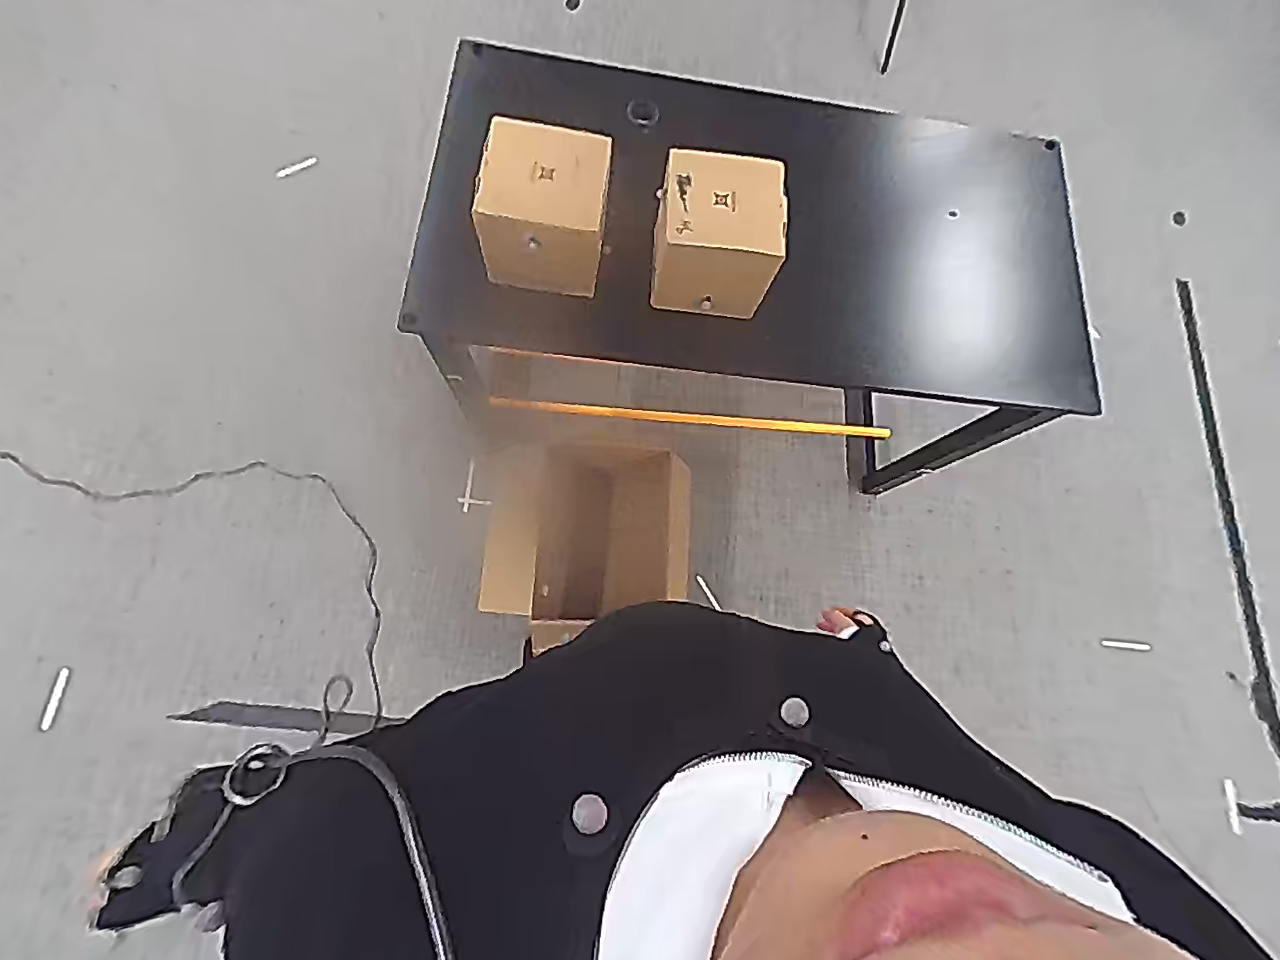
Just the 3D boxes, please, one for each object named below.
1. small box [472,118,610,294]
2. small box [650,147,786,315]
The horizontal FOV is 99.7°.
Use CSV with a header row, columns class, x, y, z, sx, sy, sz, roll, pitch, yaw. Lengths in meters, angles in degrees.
class,x,y,z,sx,sy,sz,roll,pitch,yaw
small box,-0.144,-0.410,0.834,0.179,0.176,0.168,6,76,-6
small box,0.117,-0.381,0.855,0.179,0.176,0.168,4,75,-6
